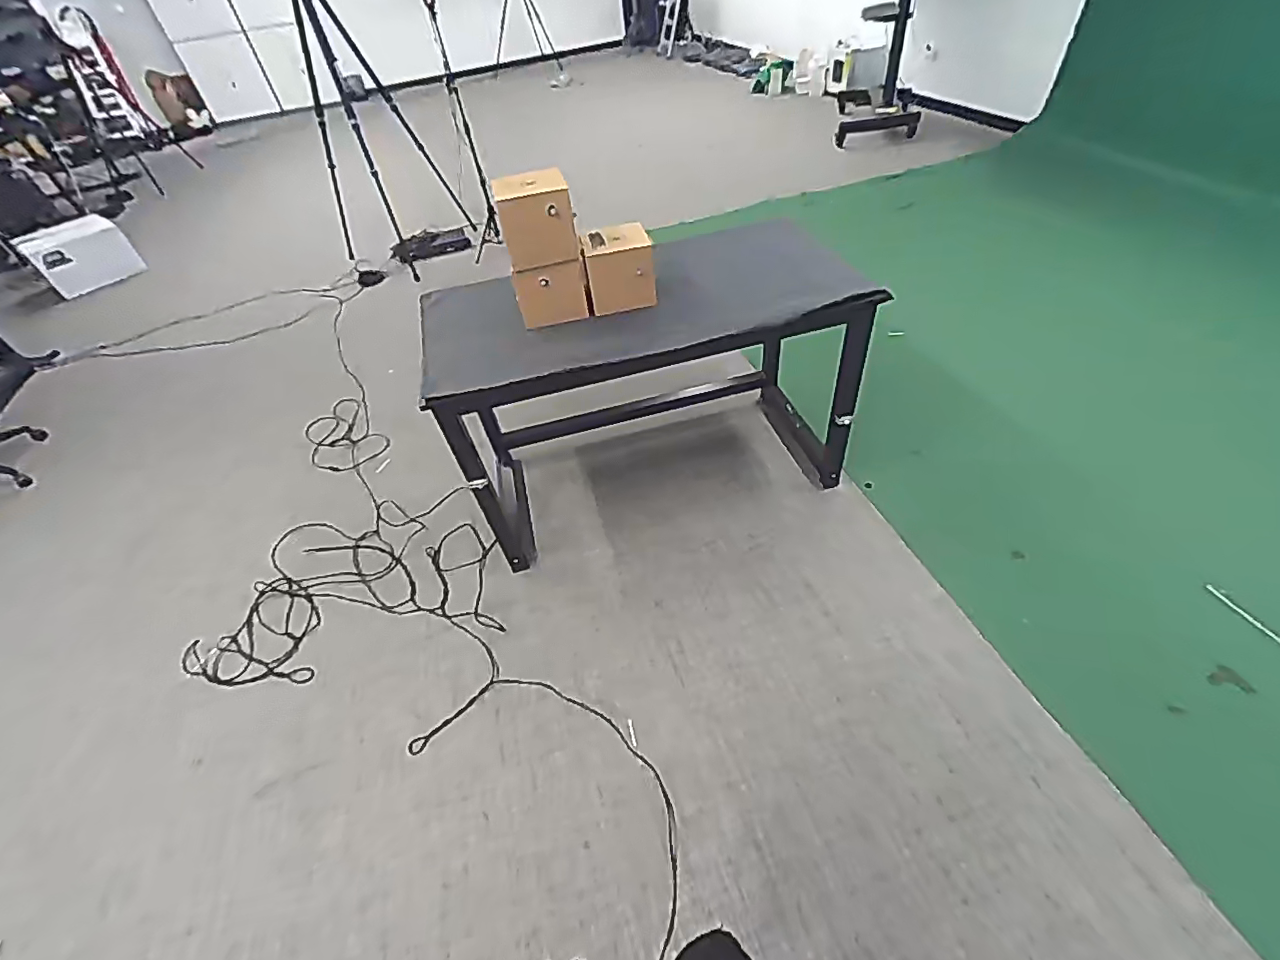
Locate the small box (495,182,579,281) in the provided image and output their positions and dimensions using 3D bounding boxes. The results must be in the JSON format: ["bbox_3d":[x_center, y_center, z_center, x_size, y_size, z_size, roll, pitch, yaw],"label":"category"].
[{"bbox_3d":[-0.256,-0.629,1.371,0.179,0.176,0.168,-14,45,-6],"label":"small box"}]
